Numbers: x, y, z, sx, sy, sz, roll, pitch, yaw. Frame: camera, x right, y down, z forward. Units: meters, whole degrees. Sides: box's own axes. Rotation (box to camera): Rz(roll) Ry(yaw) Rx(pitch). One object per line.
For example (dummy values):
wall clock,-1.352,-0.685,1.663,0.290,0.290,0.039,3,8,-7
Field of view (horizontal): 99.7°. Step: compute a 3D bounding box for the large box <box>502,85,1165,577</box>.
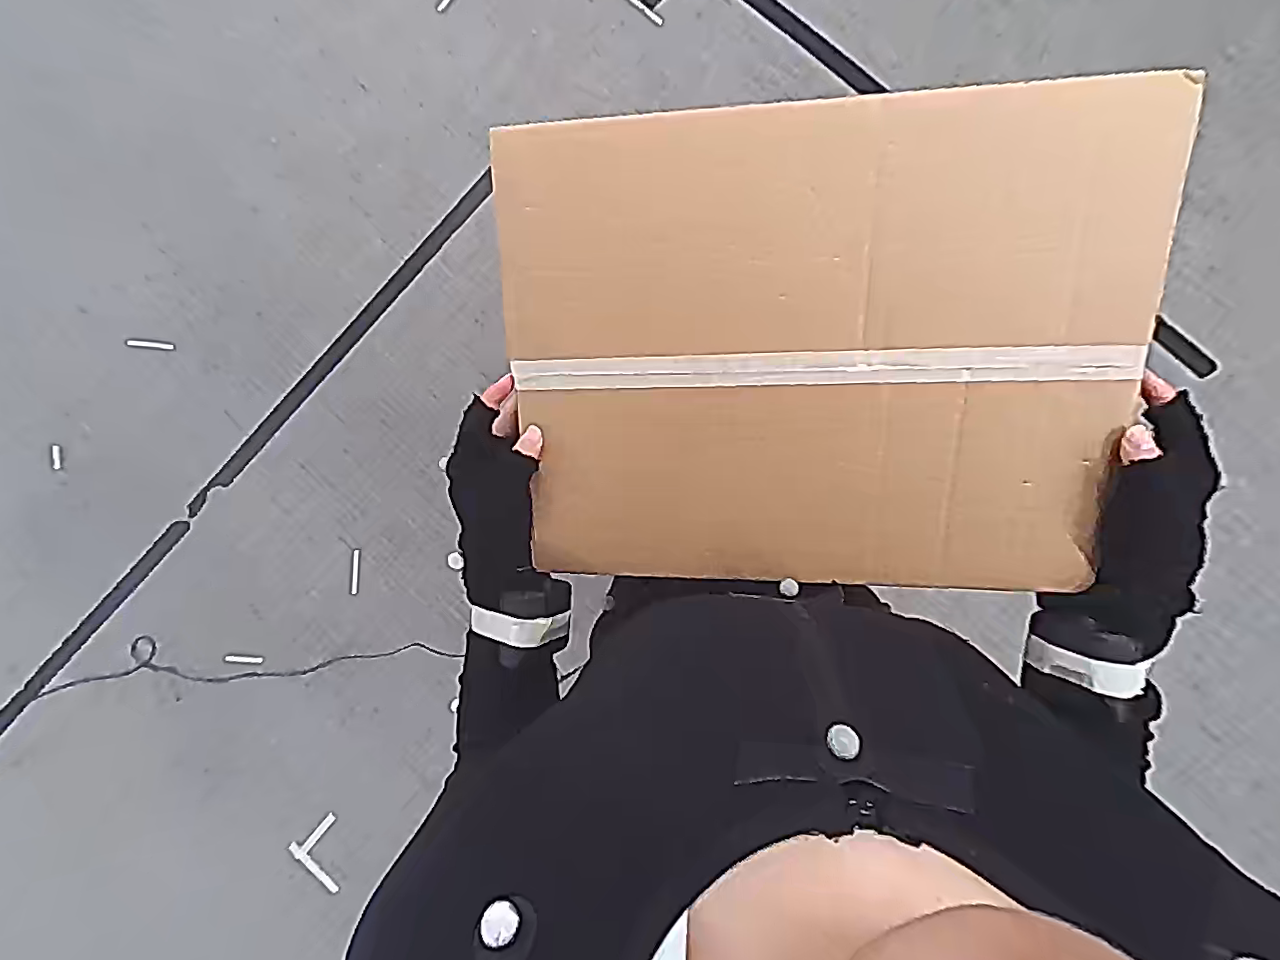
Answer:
large box,0.127,-0.118,0.515,0.408,0.320,0.320,1,107,8
